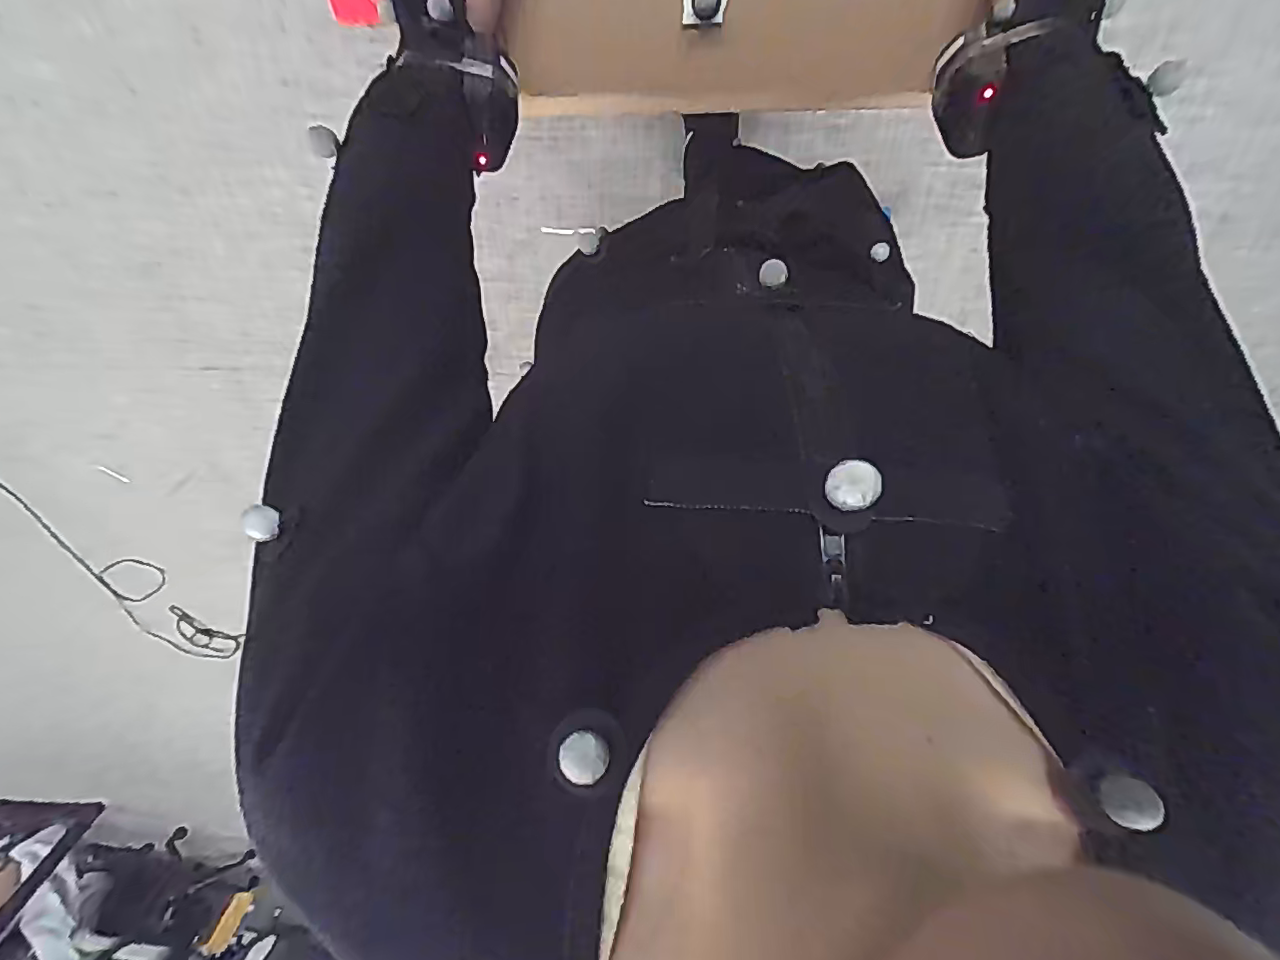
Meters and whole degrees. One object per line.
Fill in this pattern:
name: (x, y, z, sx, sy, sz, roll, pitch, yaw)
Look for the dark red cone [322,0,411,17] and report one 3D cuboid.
dark red cone: (-0.485, -0.829, 0.758, 0.202, 0.394, 0.201, -4, 120, 7)
